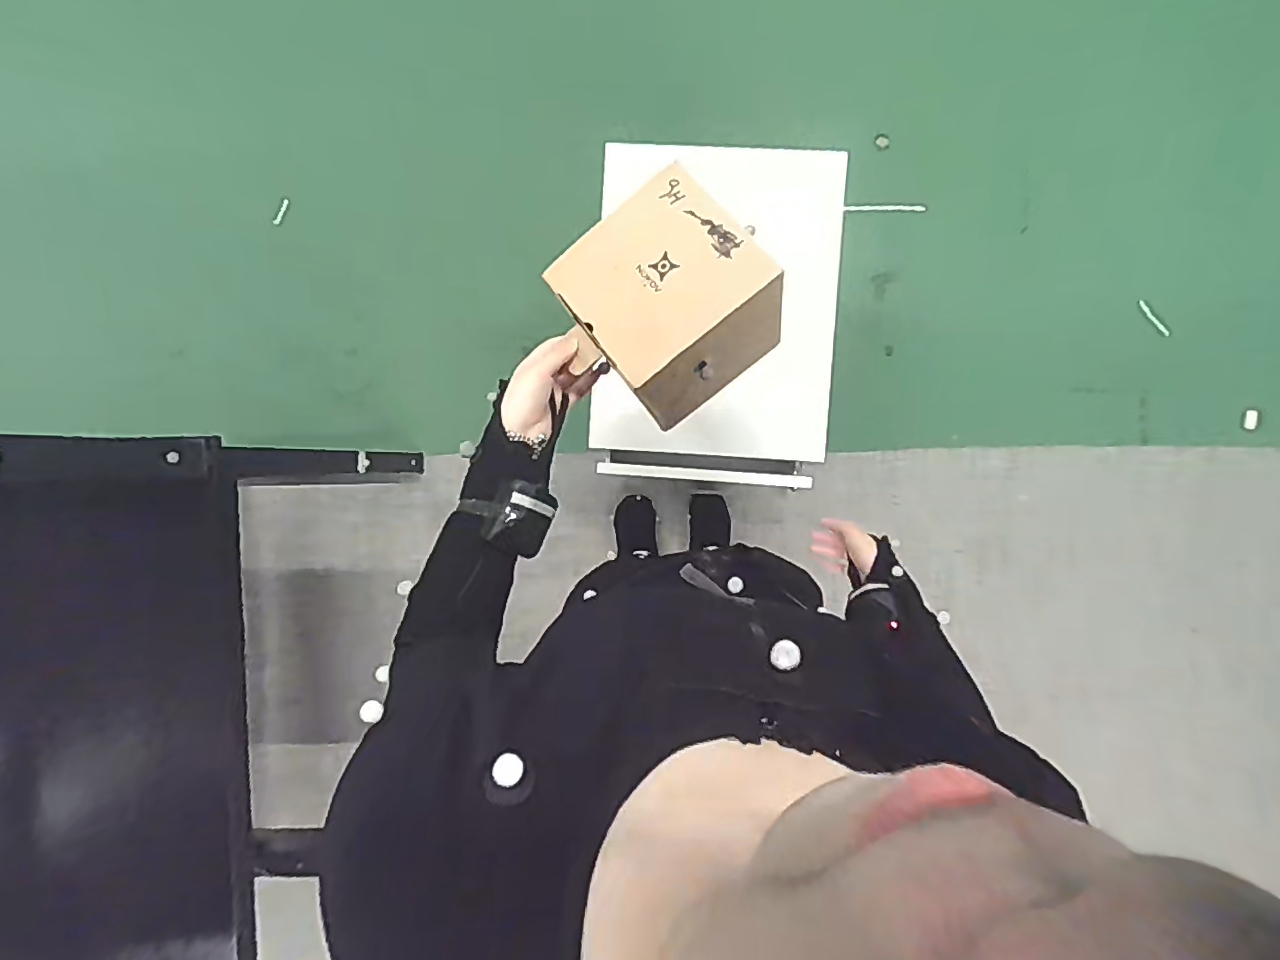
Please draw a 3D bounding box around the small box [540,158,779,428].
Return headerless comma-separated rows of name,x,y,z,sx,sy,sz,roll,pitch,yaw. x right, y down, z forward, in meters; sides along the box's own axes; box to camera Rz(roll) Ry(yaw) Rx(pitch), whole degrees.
small box,0.033,-0.179,0.575,0.179,0.176,0.168,-38,75,6
